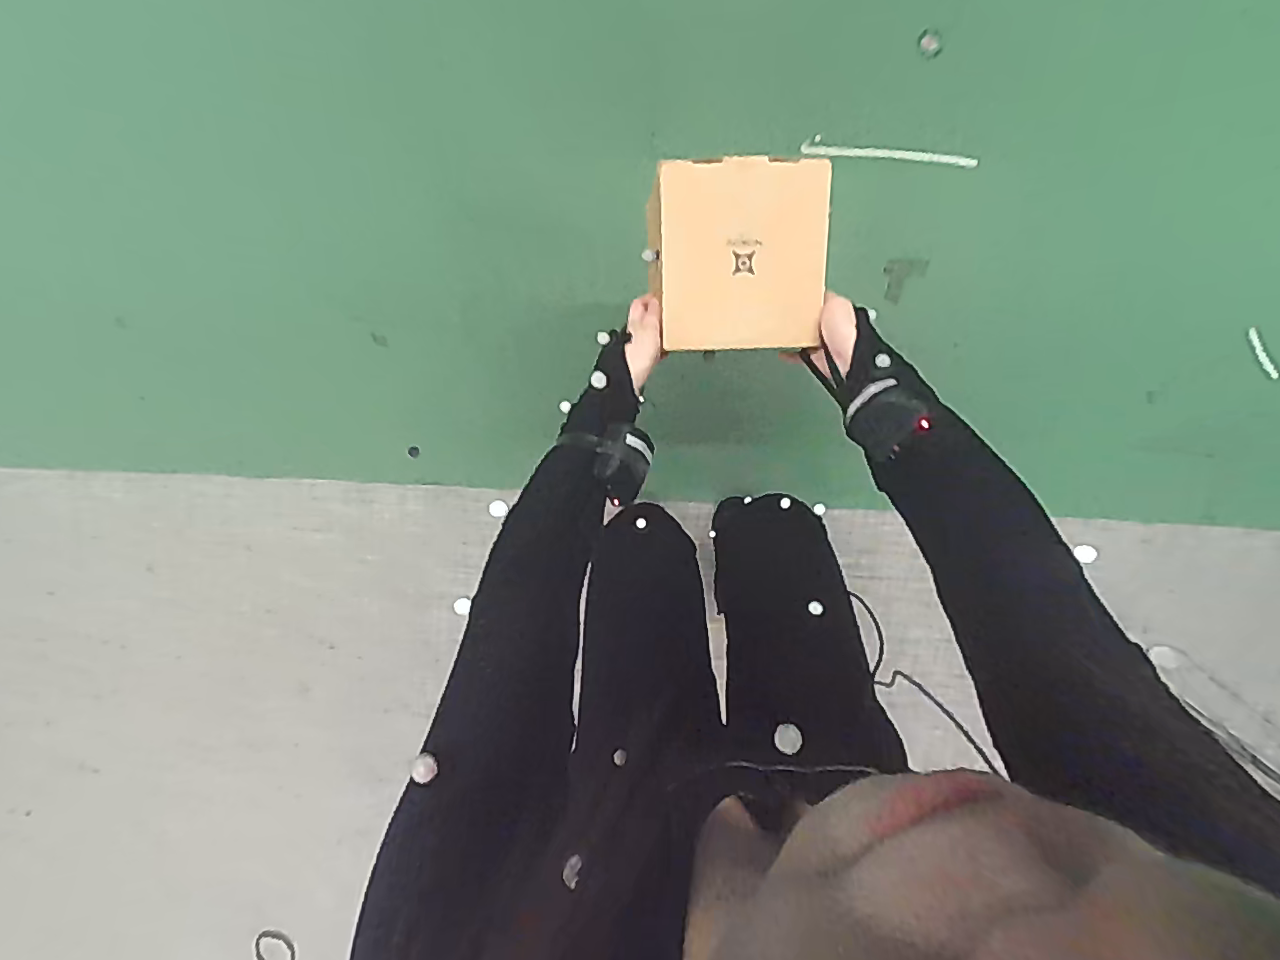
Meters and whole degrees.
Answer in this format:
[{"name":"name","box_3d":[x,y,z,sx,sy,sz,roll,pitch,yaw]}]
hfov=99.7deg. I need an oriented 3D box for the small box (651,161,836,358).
[{"name":"small box","box_3d":[0.100,-0.229,0.596,0.168,0.176,0.179,-2,104,-2]}]
